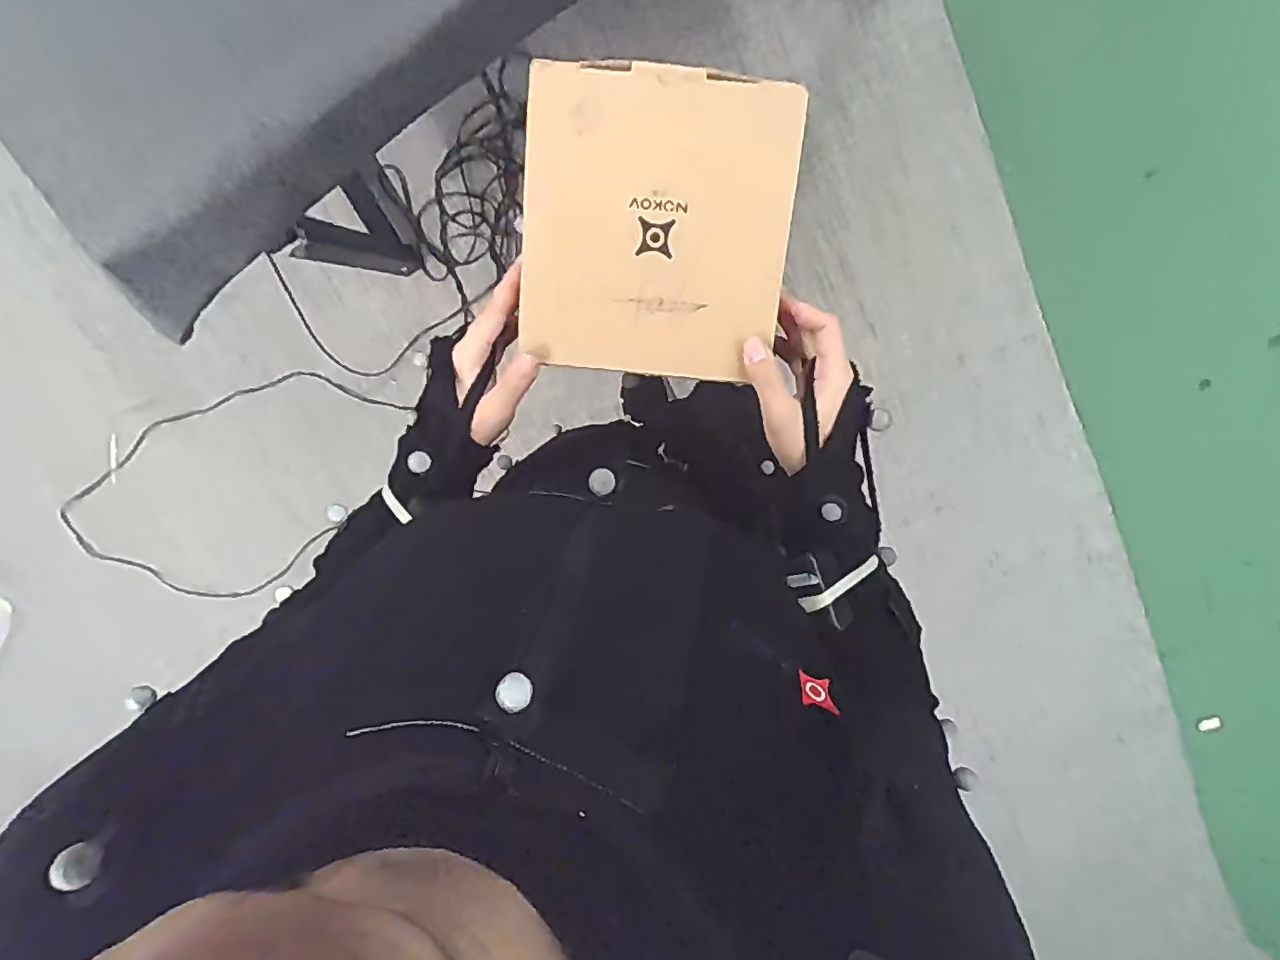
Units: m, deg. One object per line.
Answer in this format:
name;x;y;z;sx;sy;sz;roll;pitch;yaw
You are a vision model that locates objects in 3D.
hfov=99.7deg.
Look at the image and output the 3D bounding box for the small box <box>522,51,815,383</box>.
small box;0.014;-0.174;0.411;0.168;0.176;0.179;6;104;-1
